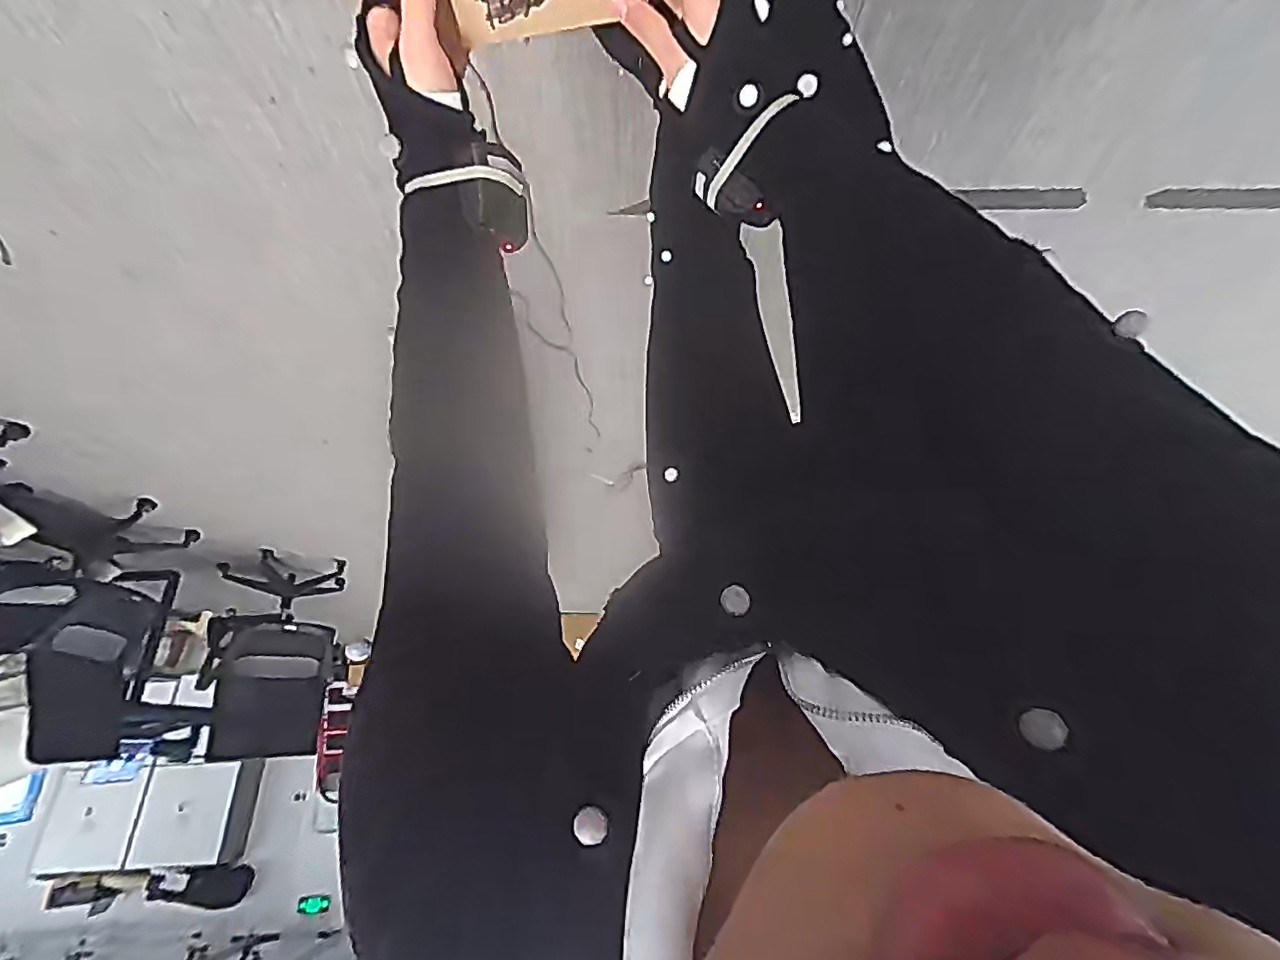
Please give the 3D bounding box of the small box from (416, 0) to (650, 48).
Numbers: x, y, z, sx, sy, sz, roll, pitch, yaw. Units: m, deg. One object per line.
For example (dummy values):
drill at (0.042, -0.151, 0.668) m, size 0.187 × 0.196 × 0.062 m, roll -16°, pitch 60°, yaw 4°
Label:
small box at (-0.088, -0.440, 0.358) m, size 0.168 × 0.176 × 0.179 m, roll -7°, pitch 154°, yaw 4°
